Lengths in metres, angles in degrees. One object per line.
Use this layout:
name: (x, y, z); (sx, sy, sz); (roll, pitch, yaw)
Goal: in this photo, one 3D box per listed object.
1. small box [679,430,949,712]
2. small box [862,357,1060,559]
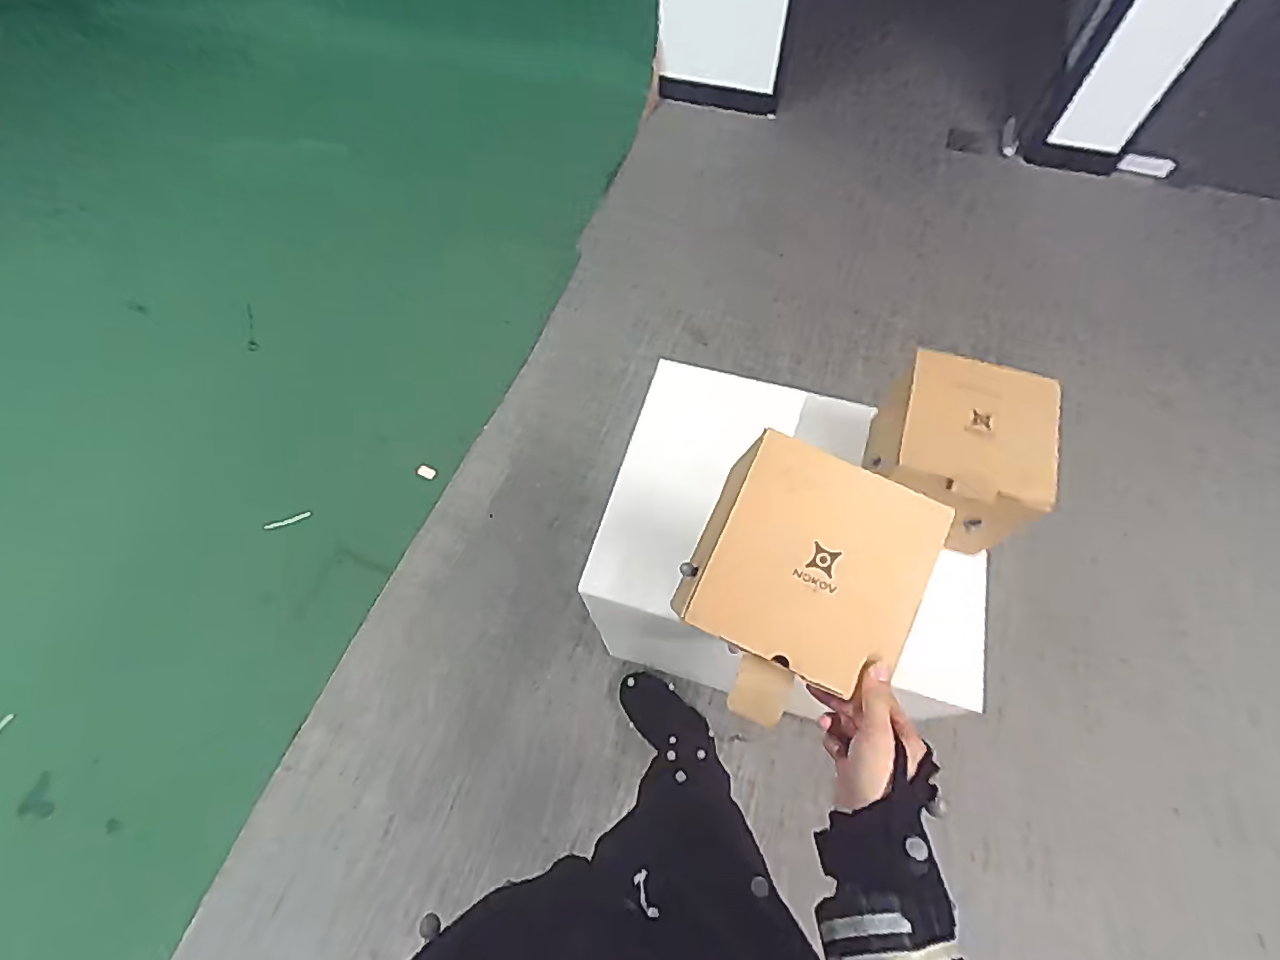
small box: (0.143, 0.080, 0.509); (0.168, 0.176, 0.179); (24, 82, 4)
small box: (0.390, -0.020, 0.686); (0.168, 0.176, 0.179); (17, 65, 10)
